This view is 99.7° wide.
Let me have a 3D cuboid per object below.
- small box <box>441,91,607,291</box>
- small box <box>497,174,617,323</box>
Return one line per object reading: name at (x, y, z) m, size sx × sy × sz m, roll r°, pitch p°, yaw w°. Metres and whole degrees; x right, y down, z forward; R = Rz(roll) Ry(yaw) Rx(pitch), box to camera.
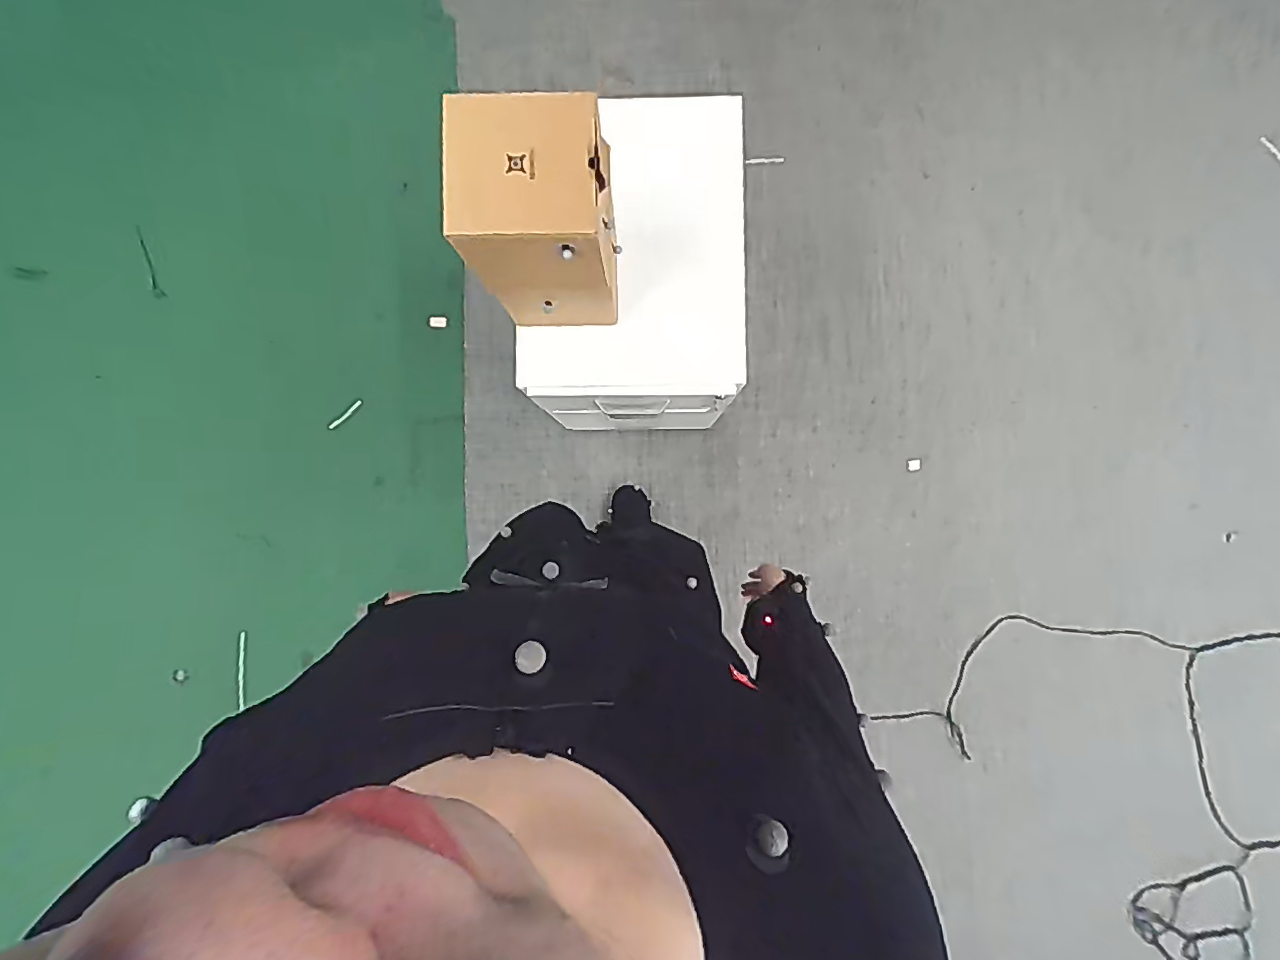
small box at (-0.135, -0.350, 0.683) m, size 0.179 × 0.176 × 0.168 m, roll -1°, pitch 88°, yaw 0°
small box at (-0.129, -0.351, 0.846) m, size 0.179 × 0.176 × 0.168 m, roll 0°, pitch 88°, yaw 1°
